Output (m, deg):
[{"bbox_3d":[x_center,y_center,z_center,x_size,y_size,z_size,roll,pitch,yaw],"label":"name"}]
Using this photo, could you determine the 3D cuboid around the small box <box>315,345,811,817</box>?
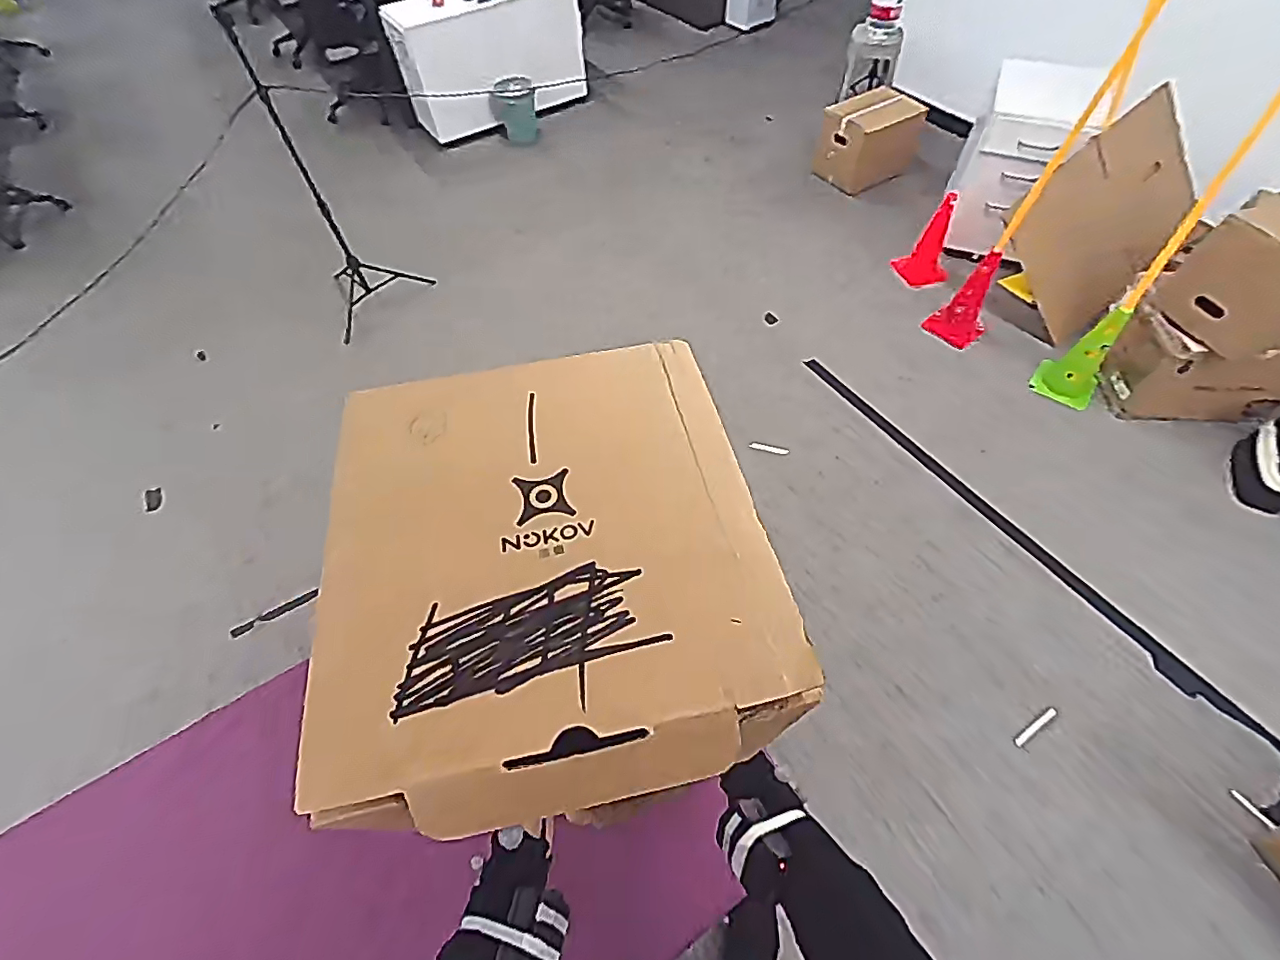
[{"bbox_3d":[-0.035,0.061,0.283,0.168,0.176,0.179,-10,56,-6],"label":"small box"}]
